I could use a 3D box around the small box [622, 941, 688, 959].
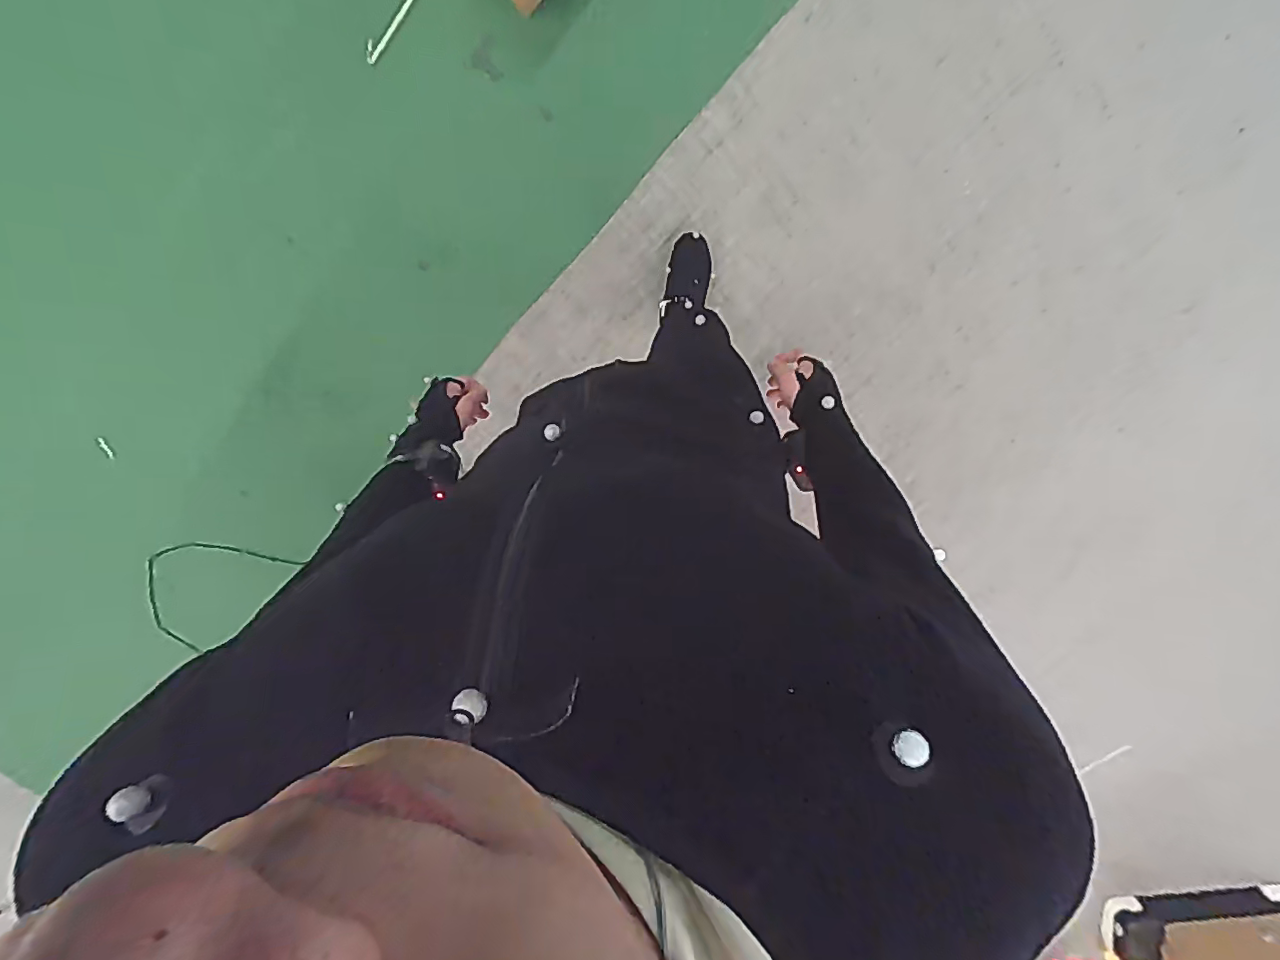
[{"bbox_3d":[0.026,1.040,1.030,0.168,0.176,0.179,42,107,-13],"label":"small box"}]

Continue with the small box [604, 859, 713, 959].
[{"bbox_3d":[0.037,0.979,1.182,0.168,0.176,0.179,41,108,-12],"label":"small box"}]

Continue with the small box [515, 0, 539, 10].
[{"bbox_3d":[-0.267,-1.165,1.143,0.168,0.176,0.179,-40,104,16],"label":"small box"}]
